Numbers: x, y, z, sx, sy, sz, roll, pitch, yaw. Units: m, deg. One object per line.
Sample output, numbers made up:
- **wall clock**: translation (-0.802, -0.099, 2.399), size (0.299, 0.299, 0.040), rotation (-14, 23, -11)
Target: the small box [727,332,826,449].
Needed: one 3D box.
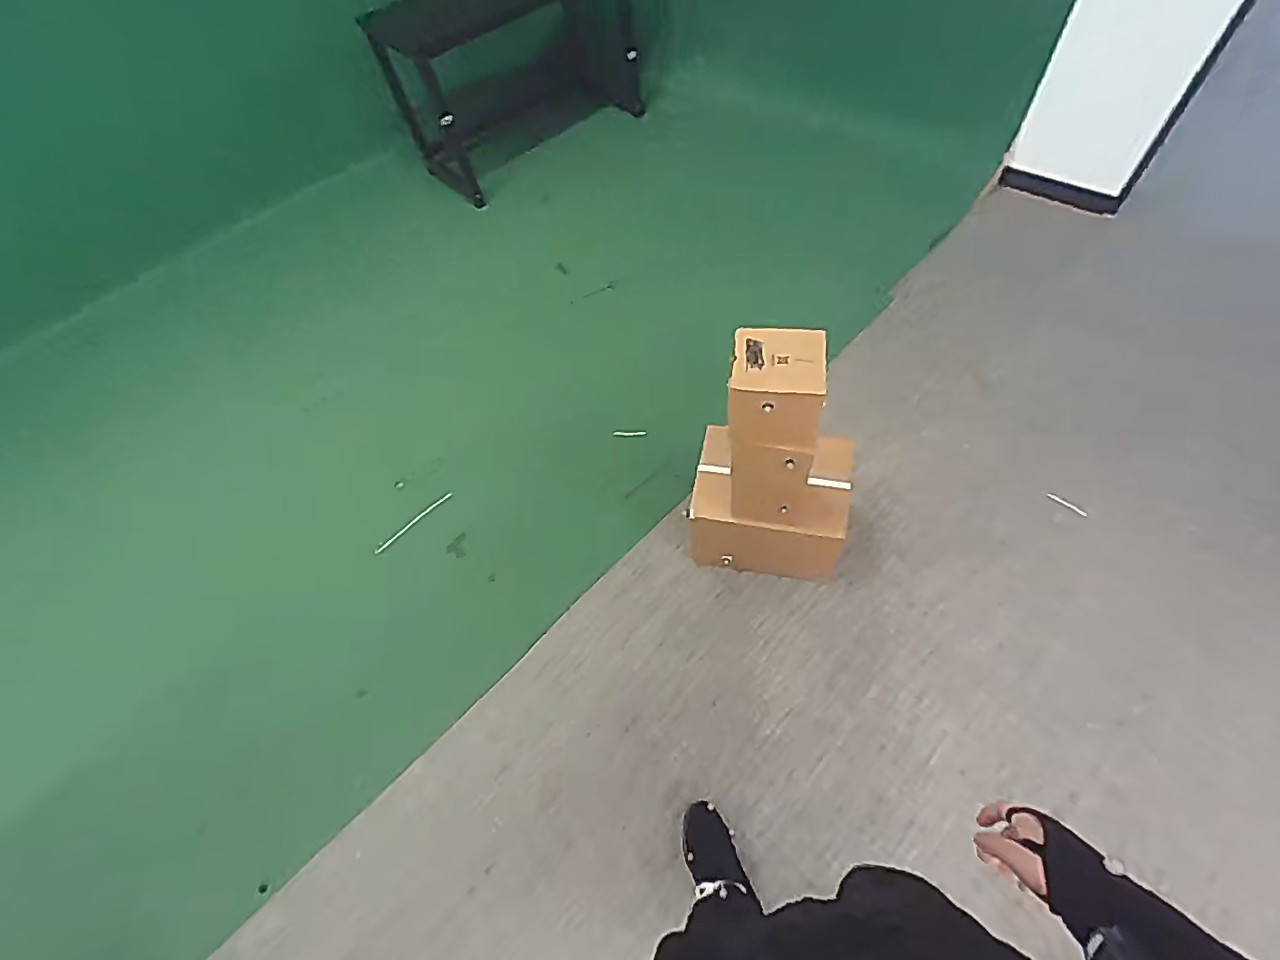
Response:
- **small box**: translation (0.271, -0.177, 1.089), size (0.179, 0.176, 0.168), rotation (5, 59, 10)

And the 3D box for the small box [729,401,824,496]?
- **small box**: translation (0.303, -0.081, 1.219), size (0.179, 0.176, 0.168), rotation (10, 59, 14)

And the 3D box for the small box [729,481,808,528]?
- **small box**: translation (0.323, 0.005, 1.358), size (0.179, 0.176, 0.168), rotation (8, 60, 13)
